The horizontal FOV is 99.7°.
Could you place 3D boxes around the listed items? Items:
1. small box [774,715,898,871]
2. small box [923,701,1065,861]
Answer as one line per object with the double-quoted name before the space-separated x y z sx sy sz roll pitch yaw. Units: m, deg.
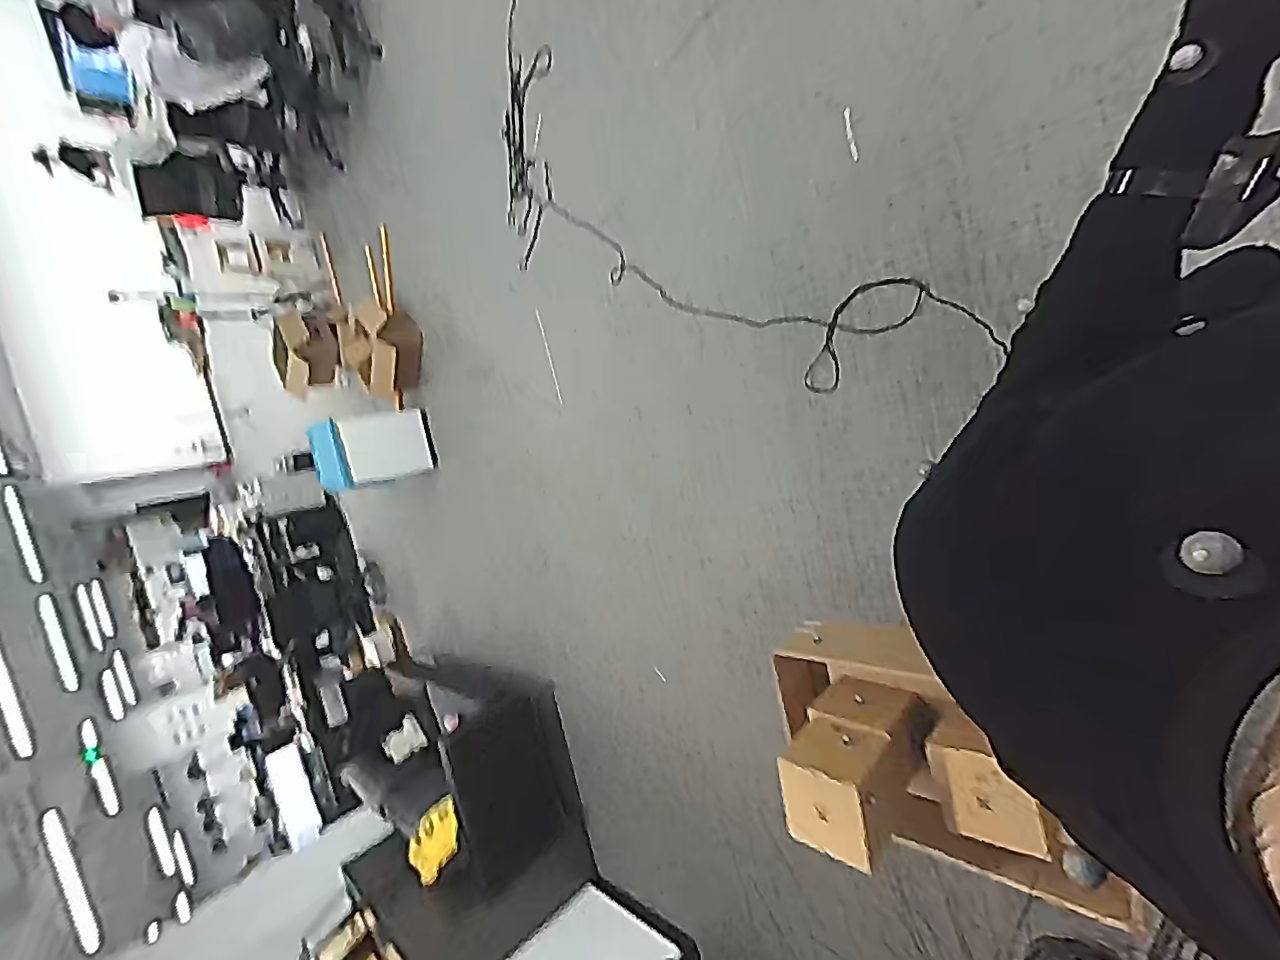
"small box" 0.391 0.603 1.068 0.168 0.176 0.179 -4 99 46
"small box" 0.659 0.544 1.003 0.168 0.176 0.179 -13 92 48
